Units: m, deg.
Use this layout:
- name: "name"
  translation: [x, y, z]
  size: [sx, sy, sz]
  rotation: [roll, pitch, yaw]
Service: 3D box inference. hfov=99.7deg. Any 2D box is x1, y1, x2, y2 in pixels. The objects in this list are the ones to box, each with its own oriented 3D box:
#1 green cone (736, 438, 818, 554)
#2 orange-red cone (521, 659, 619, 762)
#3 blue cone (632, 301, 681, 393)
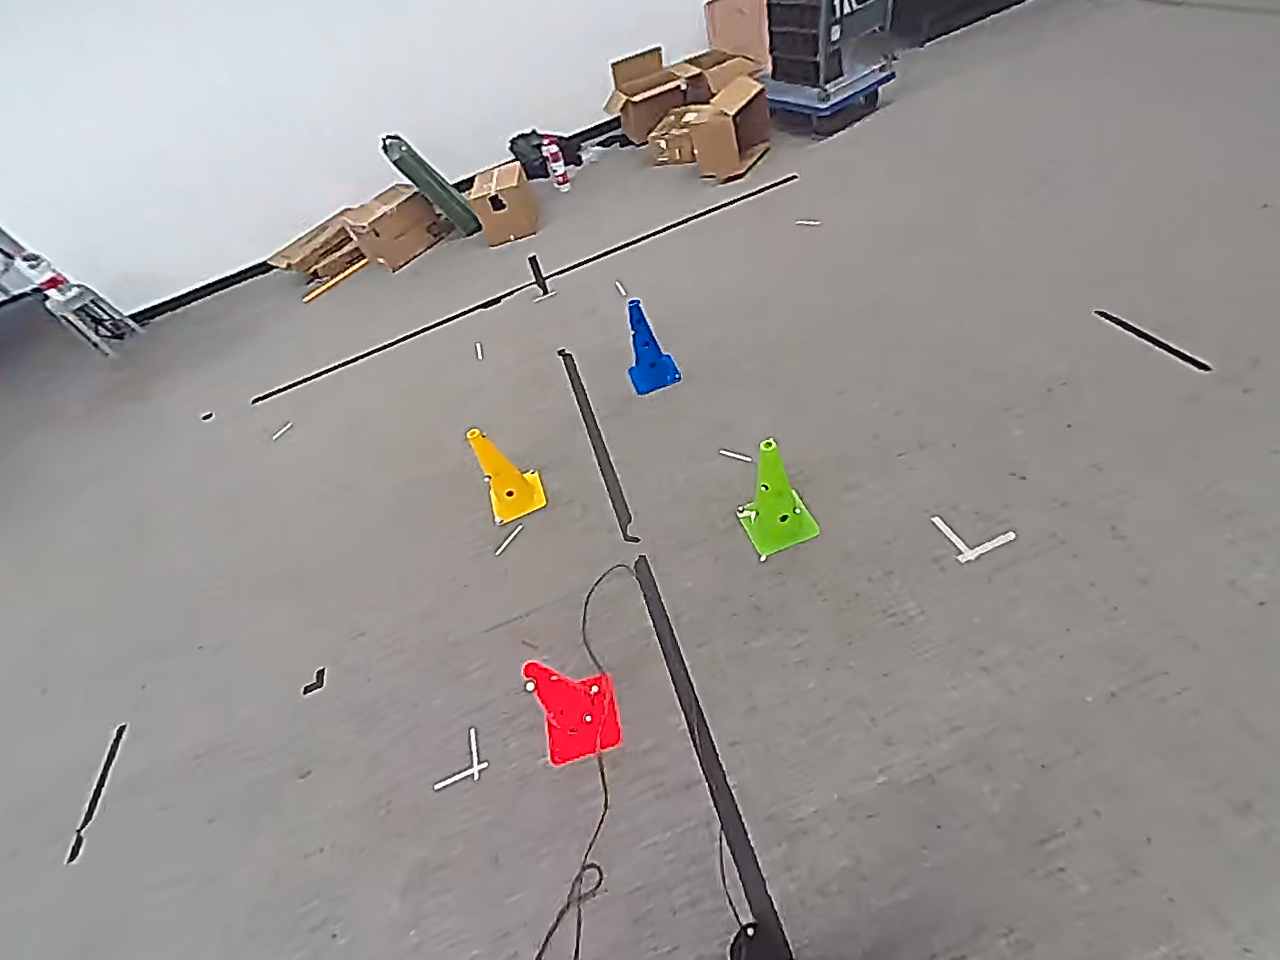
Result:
- name: "green cone"
  translation: [0.385, 0.019, 1.564]
  size: [0.202, 0.368, 0.200]
  rotation: [-21, 48, -1]
- name: "orange-red cone"
  translation: [-0.205, 0.531, 1.334]
  size: [0.199, 0.360, 0.198]
  rotation: [-20, 46, 3]
- name: "blue cone"
  translation: [0.028, -0.552, 2.189]
  size: [0.192, 0.380, 0.193]
  rotation: [-19, 48, 1]
